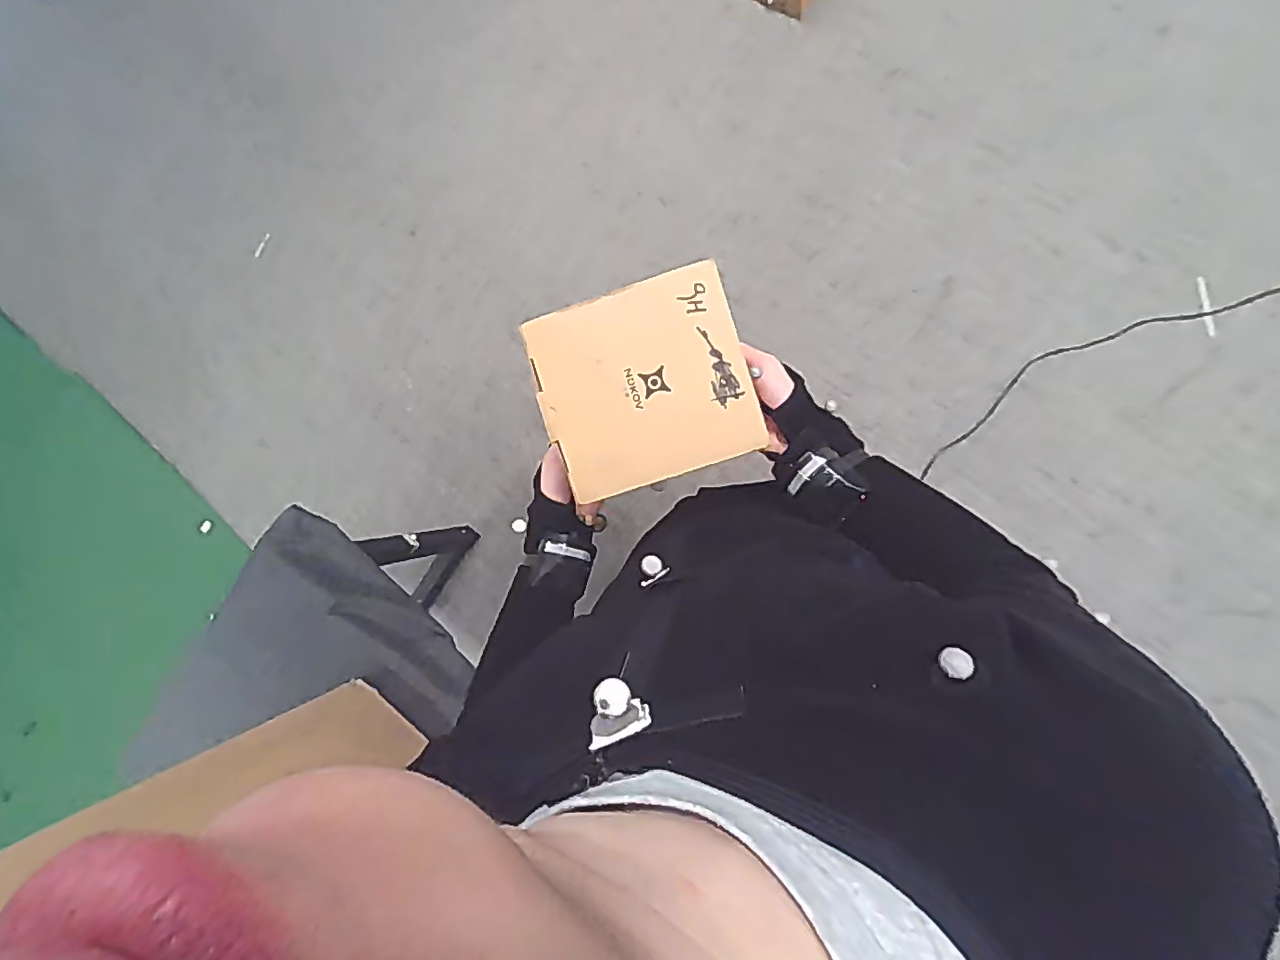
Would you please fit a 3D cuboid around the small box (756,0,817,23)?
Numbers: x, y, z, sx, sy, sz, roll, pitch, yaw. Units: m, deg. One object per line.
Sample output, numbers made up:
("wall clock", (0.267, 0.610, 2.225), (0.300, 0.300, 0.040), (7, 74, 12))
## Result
("small box", (0.412, -1.384, 1.433), (0.168, 0.176, 0.179), (35, 99, 14))
